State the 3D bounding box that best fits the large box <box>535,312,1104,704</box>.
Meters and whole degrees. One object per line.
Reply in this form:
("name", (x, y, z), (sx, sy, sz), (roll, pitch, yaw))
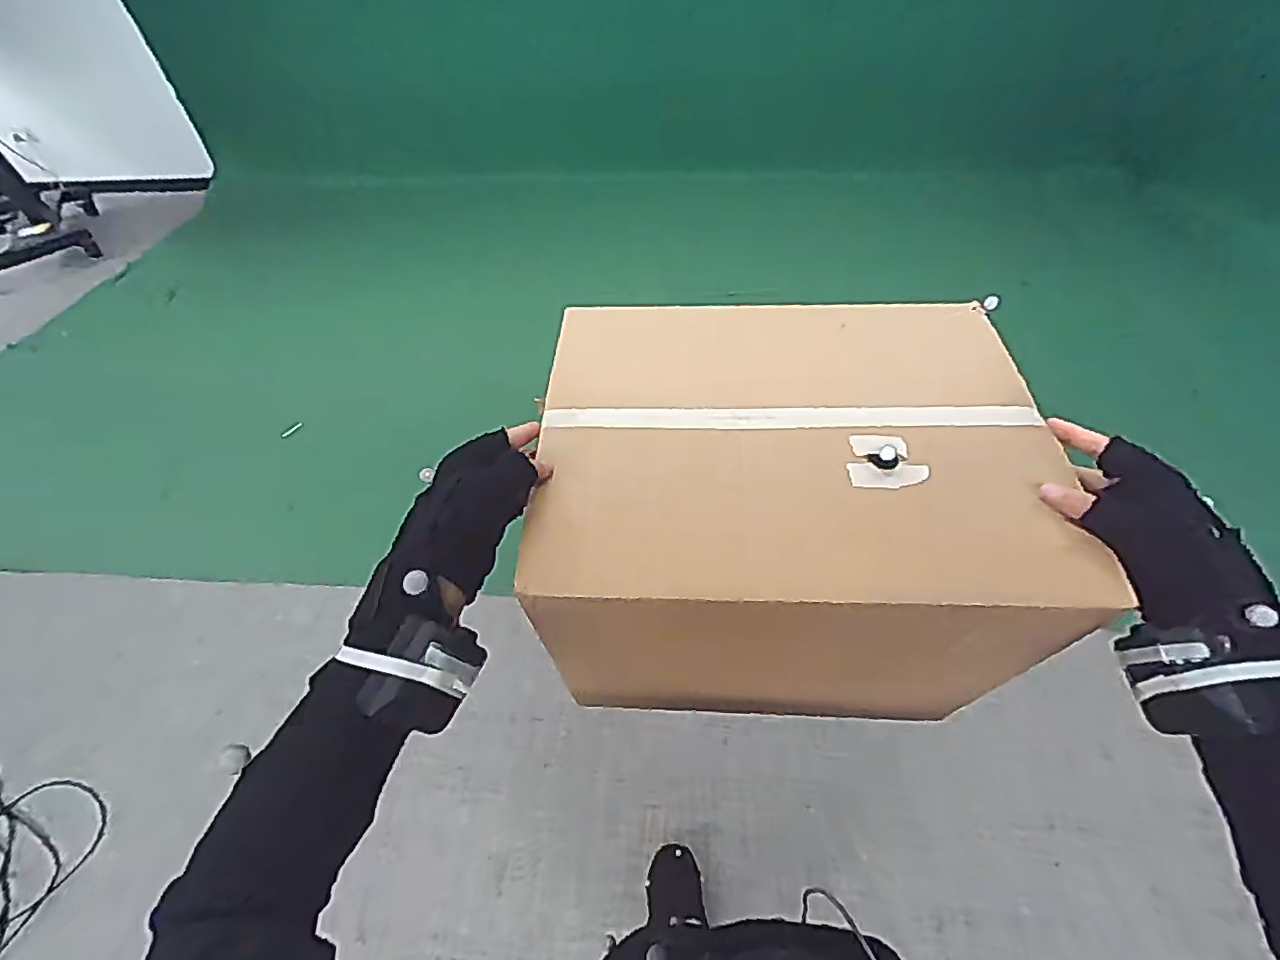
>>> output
("large box", (0.127, 0.043, 0.582), (0.408, 0.320, 0.320), (0, 55, 2))
